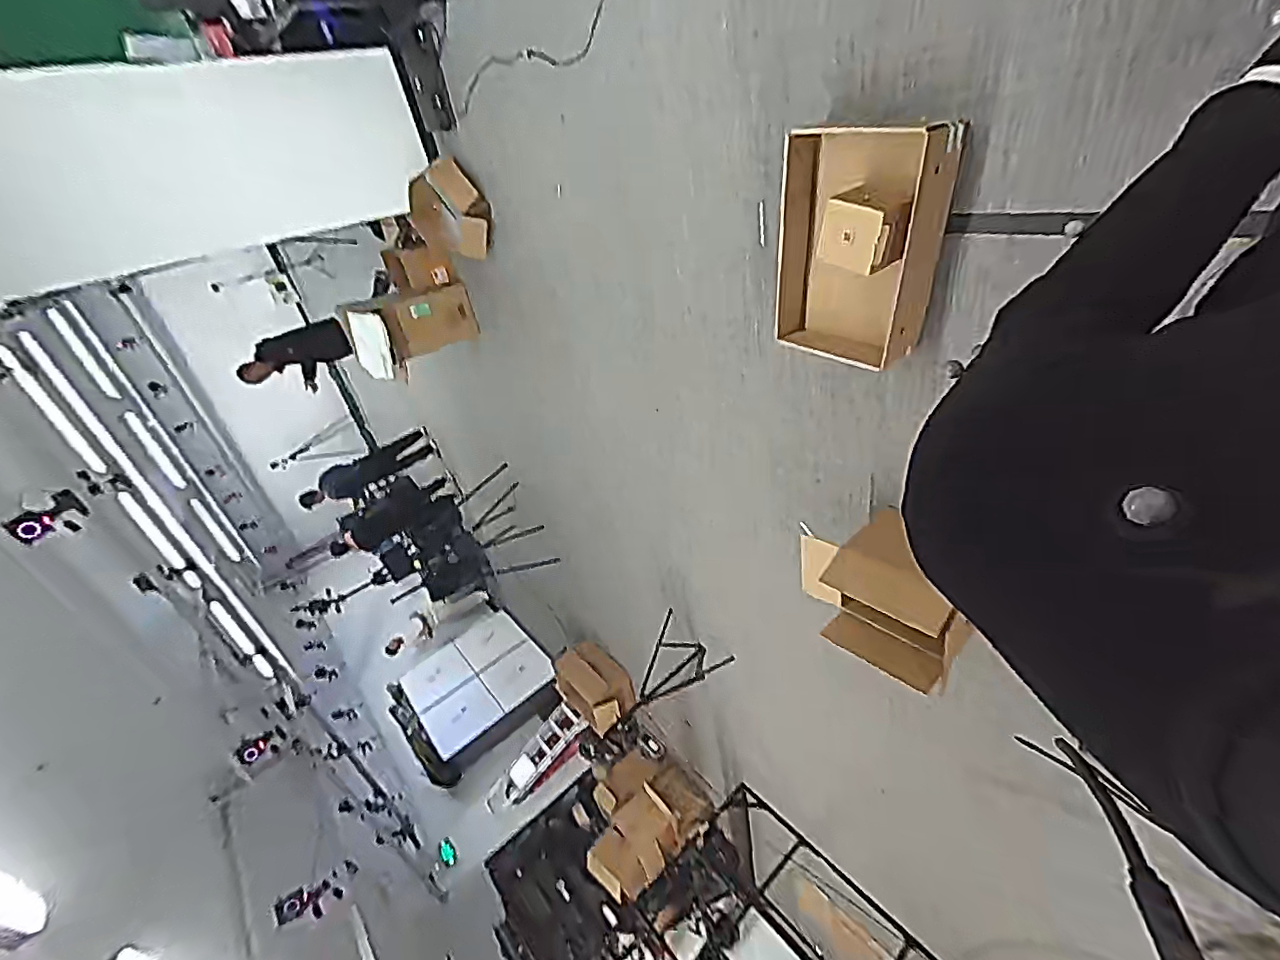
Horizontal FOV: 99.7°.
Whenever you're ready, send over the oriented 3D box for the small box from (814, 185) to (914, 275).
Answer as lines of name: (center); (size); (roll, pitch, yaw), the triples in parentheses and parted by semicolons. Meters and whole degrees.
small box: (0.616, -0.692, 1.486); (0.179, 0.176, 0.168); (38, 146, 33)
